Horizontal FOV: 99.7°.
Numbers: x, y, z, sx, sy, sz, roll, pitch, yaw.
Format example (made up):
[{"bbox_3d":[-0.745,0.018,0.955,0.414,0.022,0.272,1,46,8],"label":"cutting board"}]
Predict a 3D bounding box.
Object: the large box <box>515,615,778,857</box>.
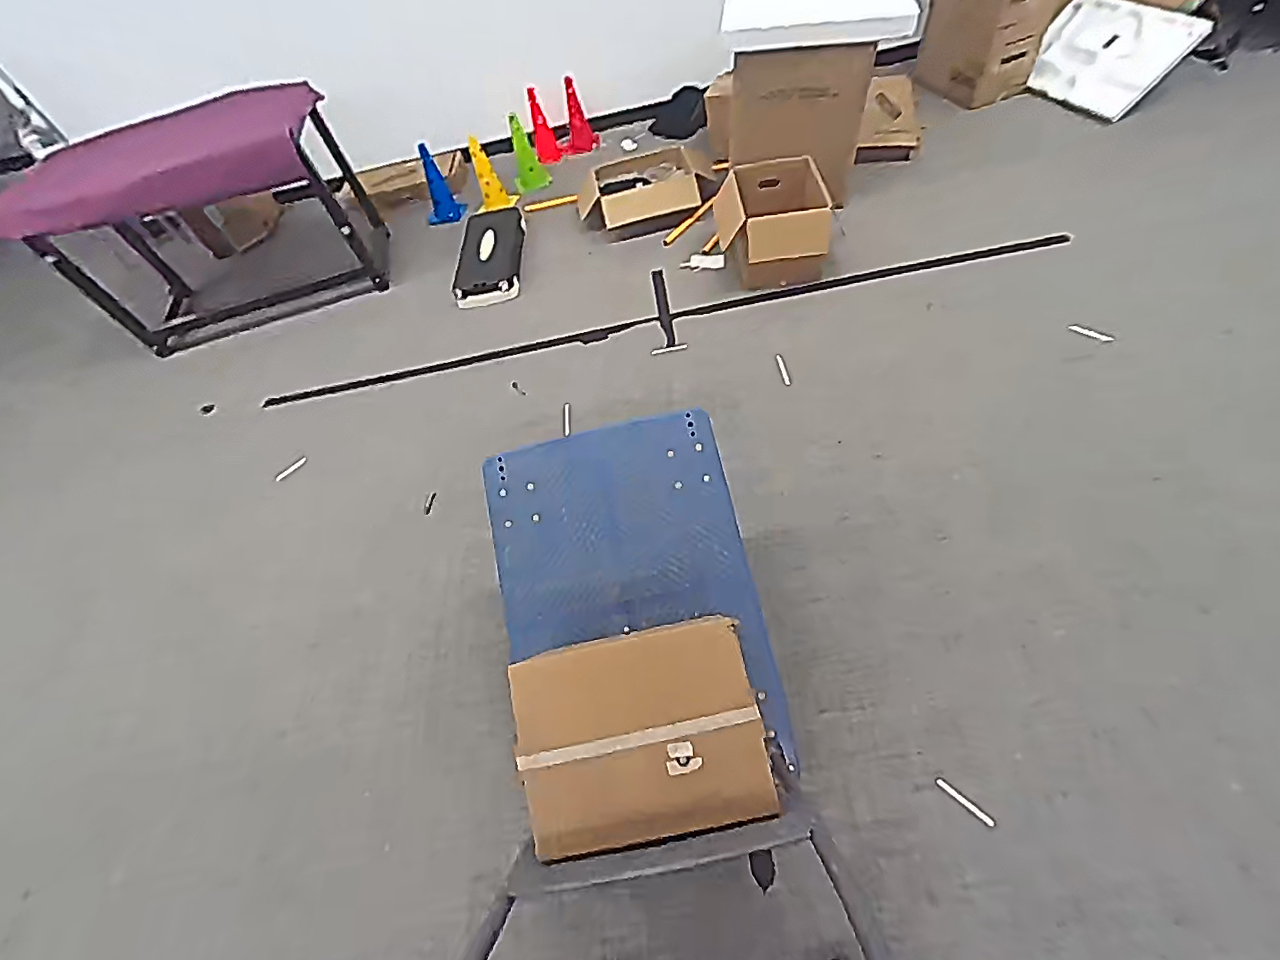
[{"bbox_3d":[0.010,0.465,1.066,0.408,0.320,0.320,-13,77,0],"label":"large box"}]
